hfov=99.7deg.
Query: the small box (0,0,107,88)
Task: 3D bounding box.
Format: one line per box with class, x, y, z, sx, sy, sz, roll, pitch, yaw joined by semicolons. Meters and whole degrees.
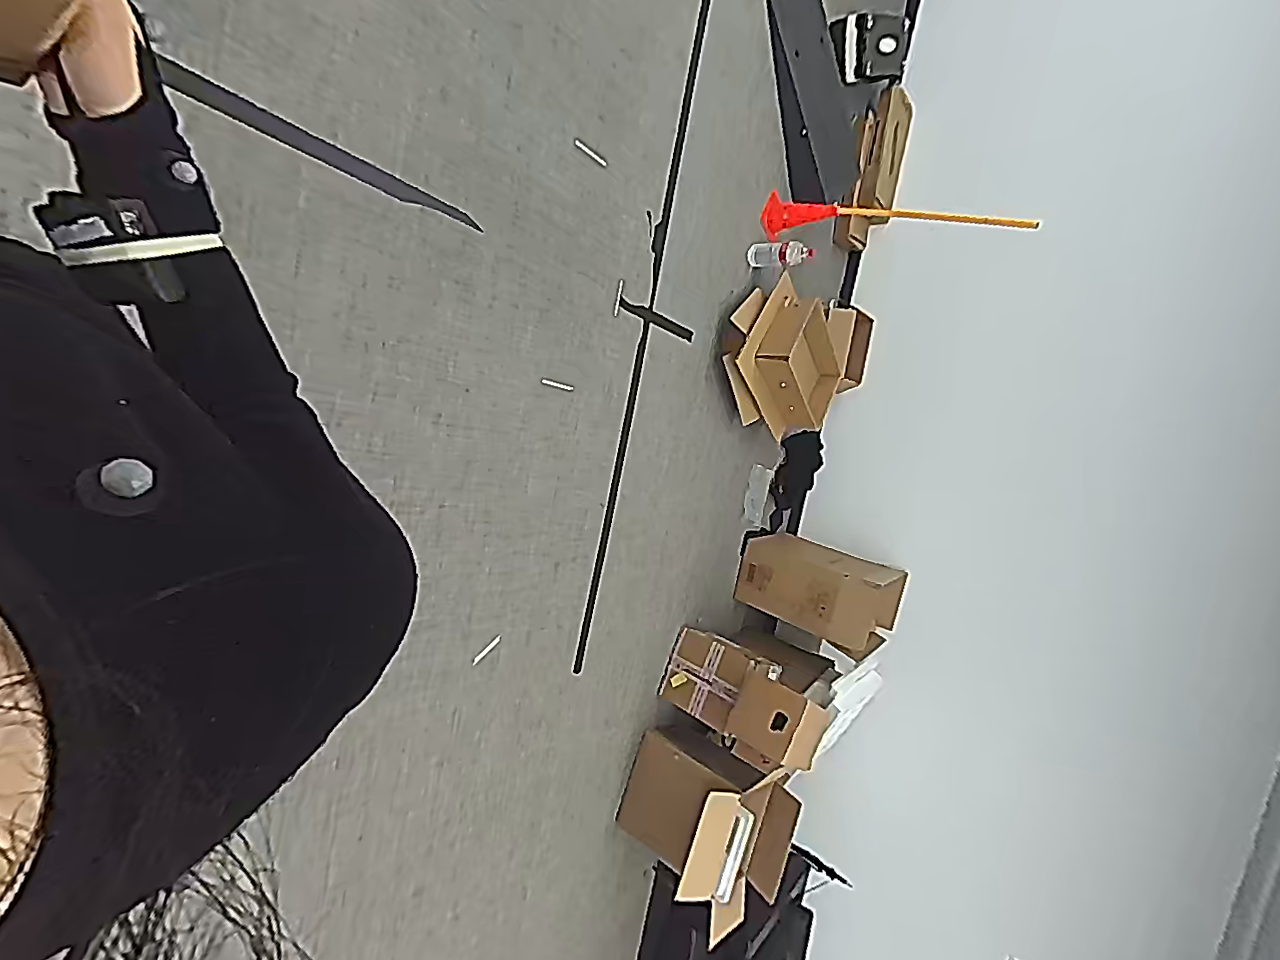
small box;-0.341;-0.296;0.208;0.168;0.176;0.179;-11;106;-54
